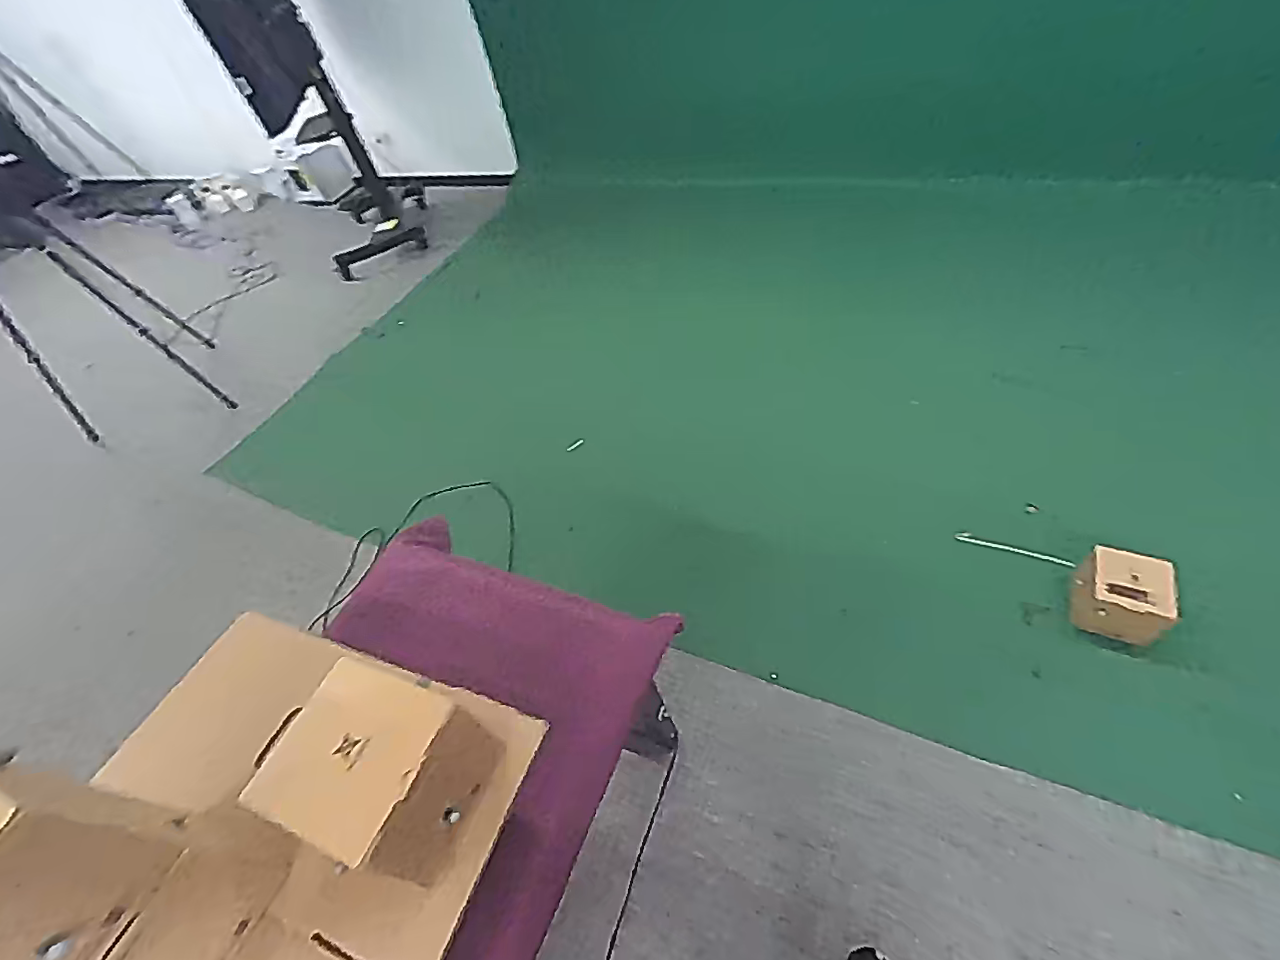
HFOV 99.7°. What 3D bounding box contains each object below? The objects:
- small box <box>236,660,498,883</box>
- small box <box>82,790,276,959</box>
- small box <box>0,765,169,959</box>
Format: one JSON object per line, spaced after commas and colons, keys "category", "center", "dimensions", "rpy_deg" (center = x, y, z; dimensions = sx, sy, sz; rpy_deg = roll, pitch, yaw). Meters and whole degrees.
{"category": "small box", "center": [-0.300, 0.342, 0.633], "dimensions": [0.179, 0.176, 0.168], "rpy_deg": [11, 52, 19]}
{"category": "small box", "center": [-0.545, 0.463, 0.572], "dimensions": [0.179, 0.176, 0.168], "rpy_deg": [10, 51, 20]}
{"category": "small box", "center": [-0.572, 0.354, 0.452], "dimensions": [0.179, 0.176, 0.168], "rpy_deg": [11, 51, 19]}
